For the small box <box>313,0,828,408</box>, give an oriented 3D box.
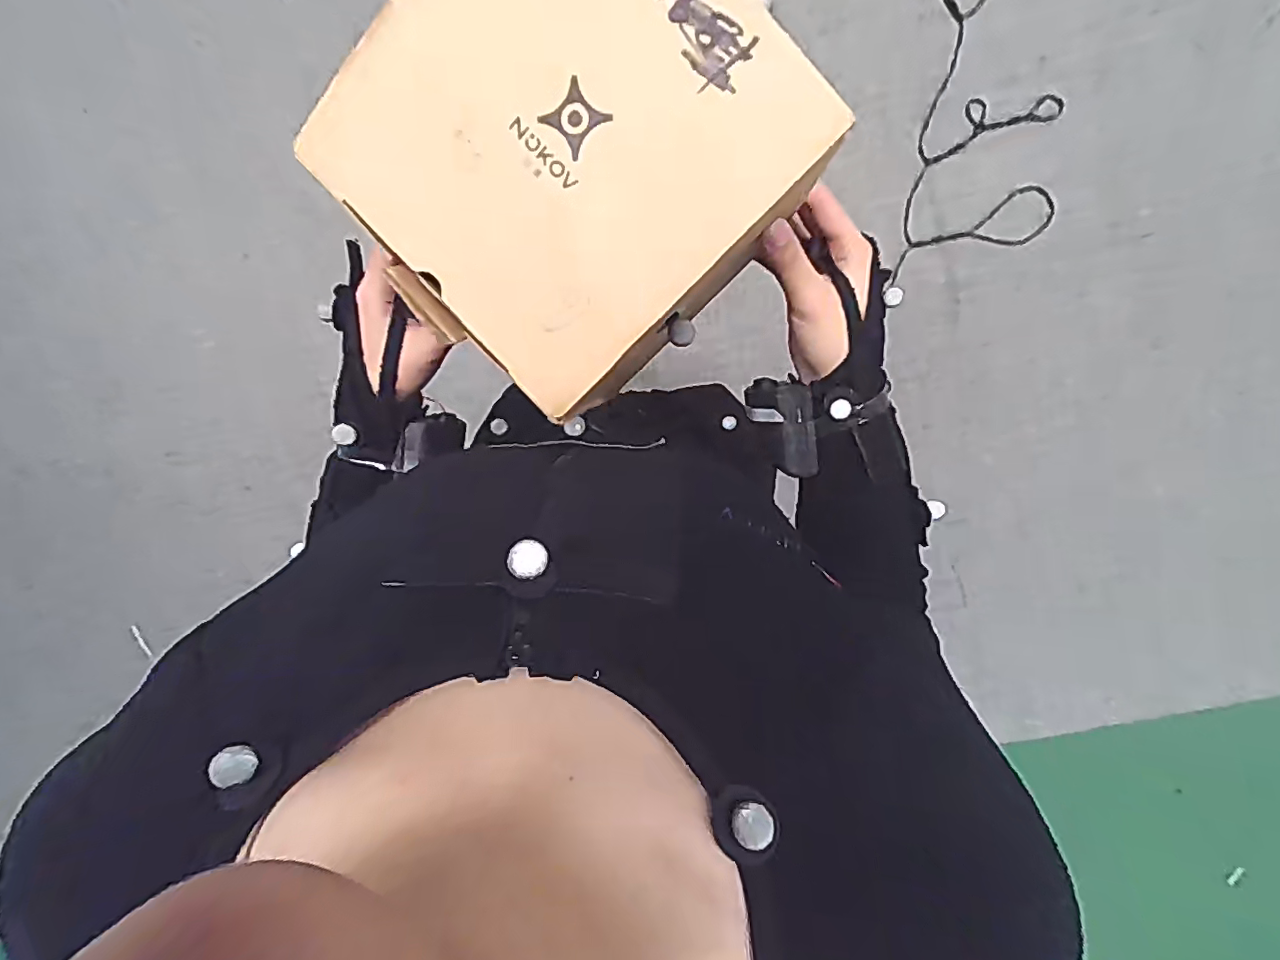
[{"bbox_3d":[-0.027,-0.163,0.313,0.179,0.176,0.168,-43,95,13],"label":"small box"}]
